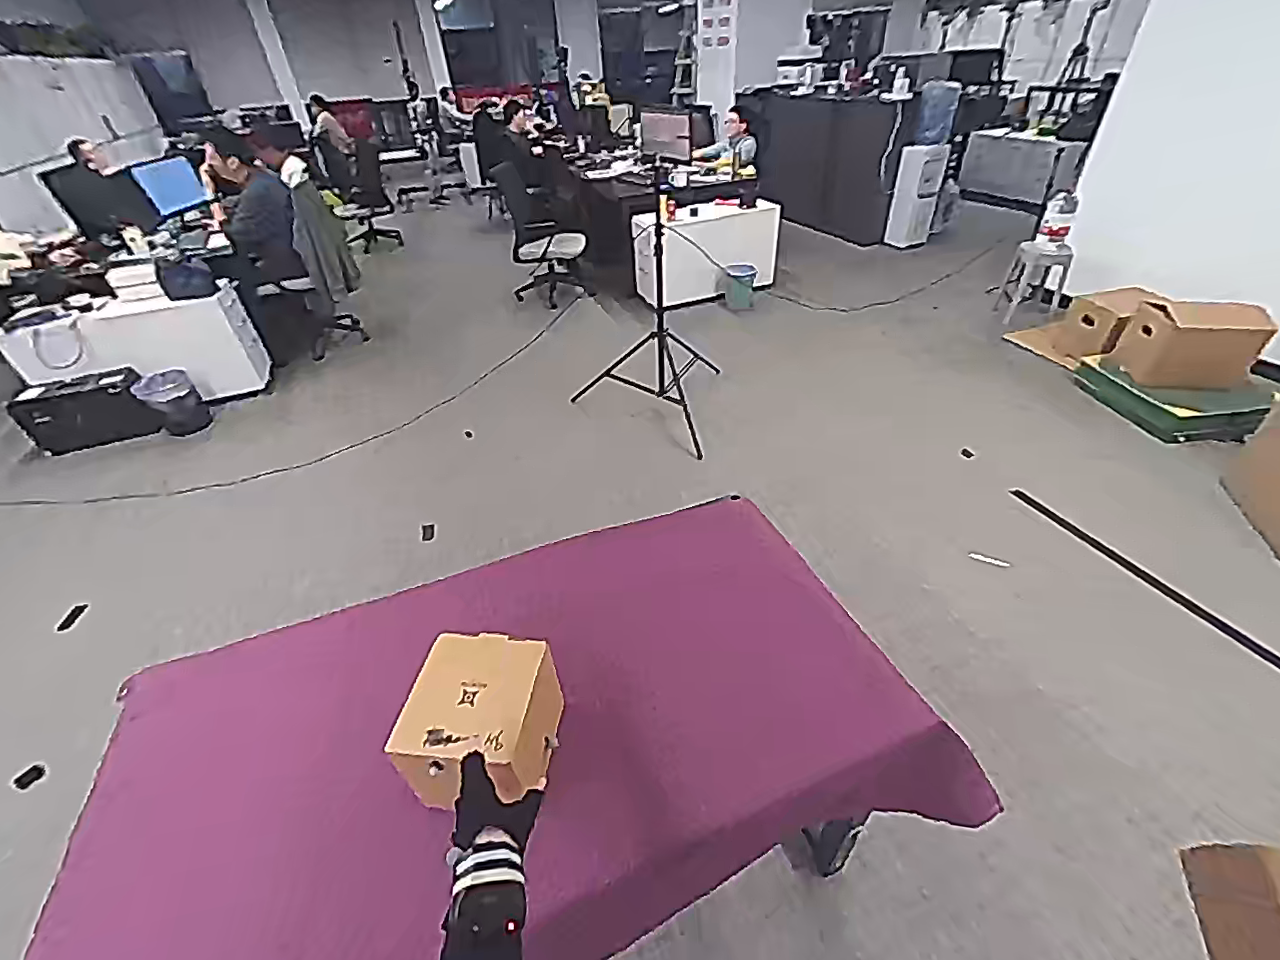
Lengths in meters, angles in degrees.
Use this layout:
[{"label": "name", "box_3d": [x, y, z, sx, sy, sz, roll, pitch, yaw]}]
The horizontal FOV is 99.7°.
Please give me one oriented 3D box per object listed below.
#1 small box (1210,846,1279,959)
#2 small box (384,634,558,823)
[{"label": "small box", "box_3d": [0.437, 0.291, 0.264, 0.168, 0.179, 0.176, -7, 56, 29]}, {"label": "small box", "box_3d": [-0.219, 0.345, 0.761, 0.168, 0.176, 0.179, 2, 38, 8]}]
